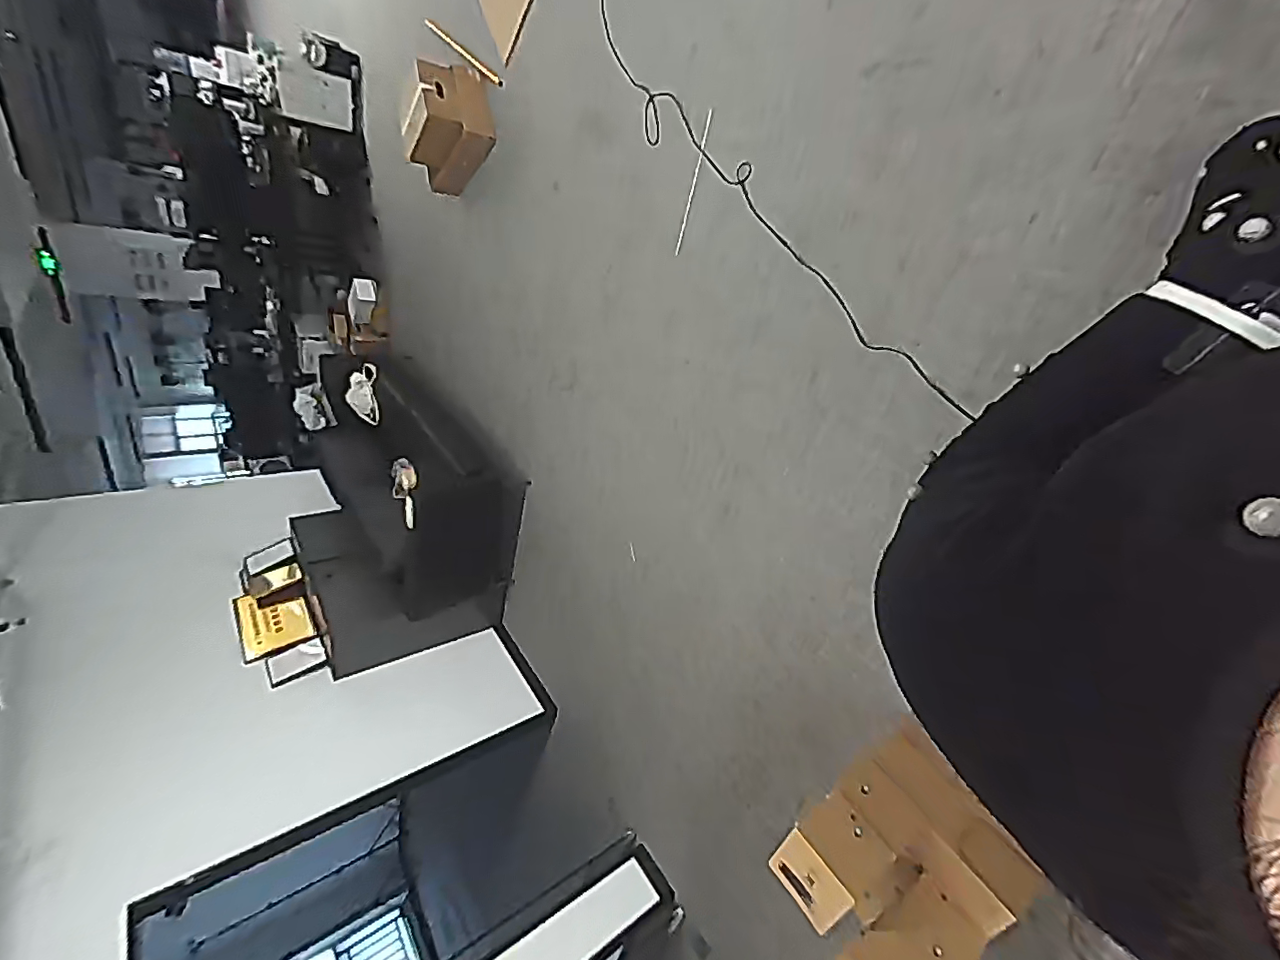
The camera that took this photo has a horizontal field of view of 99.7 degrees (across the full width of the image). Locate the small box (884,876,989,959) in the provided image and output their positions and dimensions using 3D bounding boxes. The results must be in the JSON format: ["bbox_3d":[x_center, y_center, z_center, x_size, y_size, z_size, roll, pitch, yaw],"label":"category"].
[{"bbox_3d":[0.666,1.078,1.255,0.168,0.176,0.179,43,131,36],"label":"small box"}]

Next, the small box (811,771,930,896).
[{"bbox_3d":[0.562,0.850,1.324,0.179,0.176,0.168,42,130,38],"label":"small box"}]

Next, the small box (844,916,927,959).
[{"bbox_3d":[0.533,1.098,1.154,0.179,0.176,0.168,40,128,35],"label":"small box"}]
